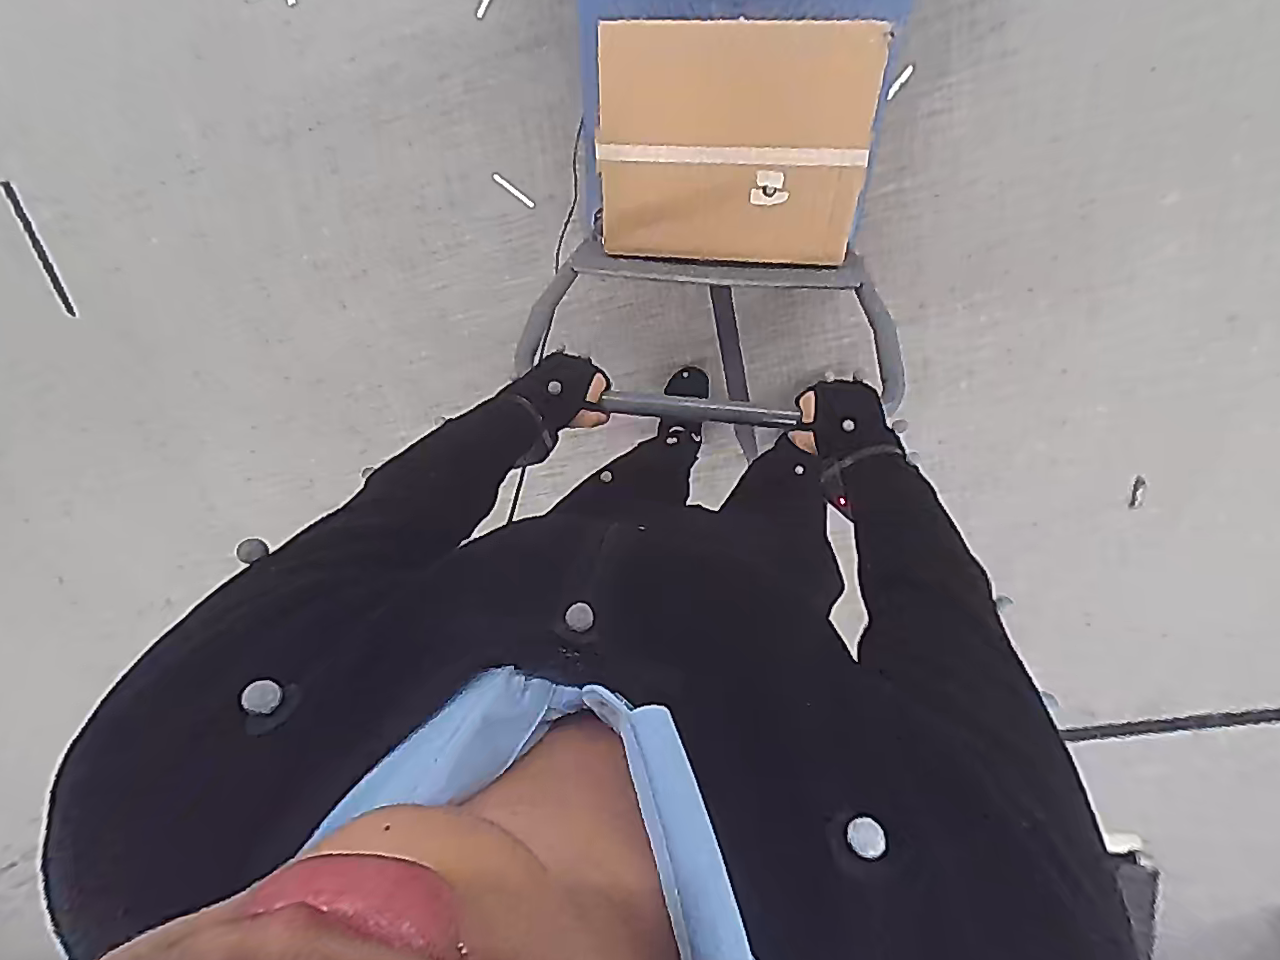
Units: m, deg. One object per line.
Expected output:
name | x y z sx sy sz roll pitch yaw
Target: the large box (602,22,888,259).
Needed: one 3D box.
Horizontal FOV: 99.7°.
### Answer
large box | 0.159 -0.595 0.961 0.408 0.320 0.320 5 127 6
